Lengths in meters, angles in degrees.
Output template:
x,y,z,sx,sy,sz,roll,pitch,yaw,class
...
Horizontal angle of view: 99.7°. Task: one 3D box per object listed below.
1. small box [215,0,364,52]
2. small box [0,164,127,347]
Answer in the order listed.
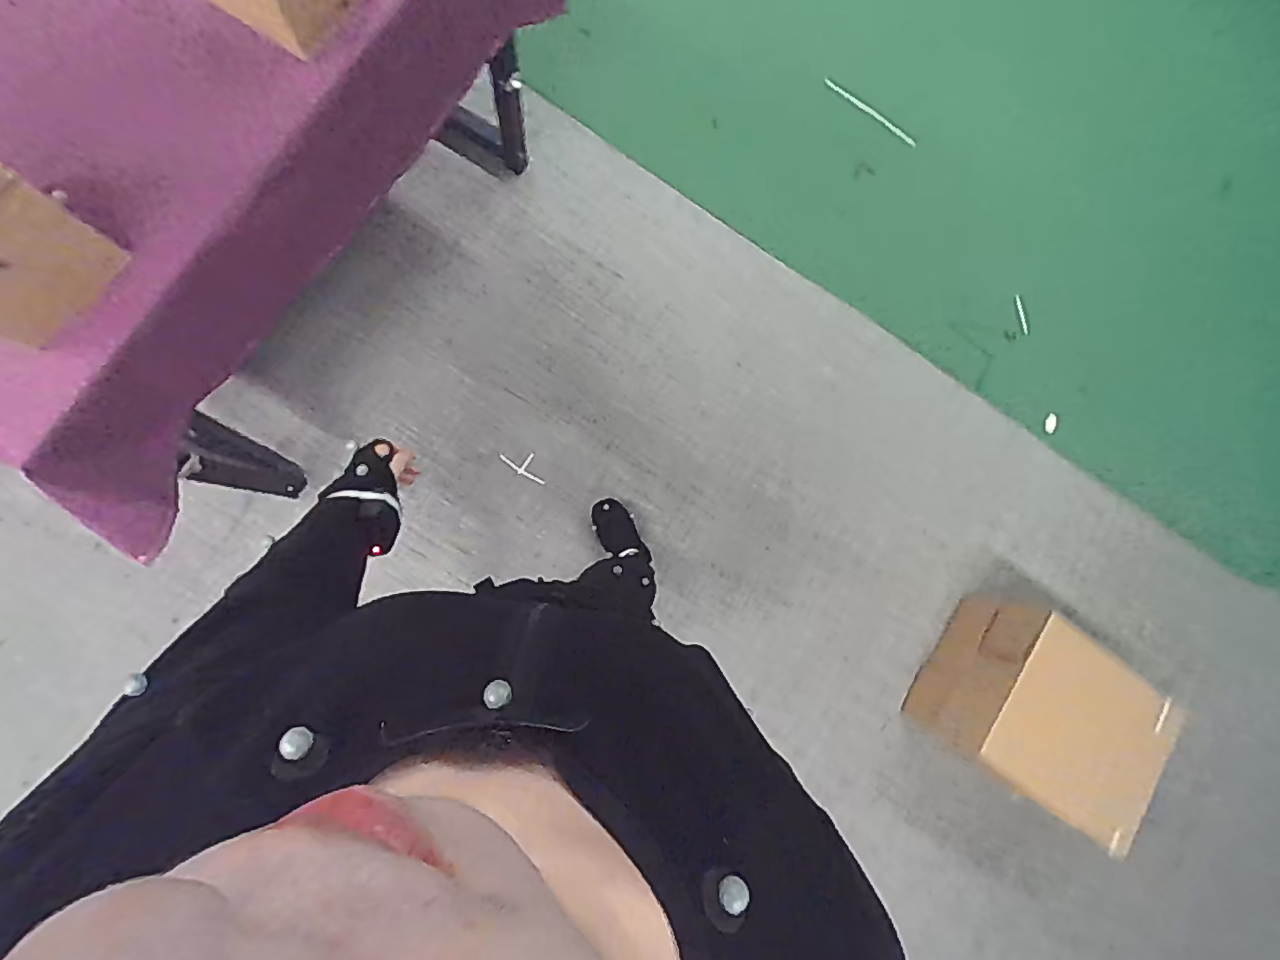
x,y,z,sx,sy,sz,roll,pitch,yaw,class
-0.518,-0.751,0.749,0.179,0.176,0.168,32,79,-3,small box
-0.799,-0.292,0.650,0.168,0.176,0.179,34,79,-2,small box
